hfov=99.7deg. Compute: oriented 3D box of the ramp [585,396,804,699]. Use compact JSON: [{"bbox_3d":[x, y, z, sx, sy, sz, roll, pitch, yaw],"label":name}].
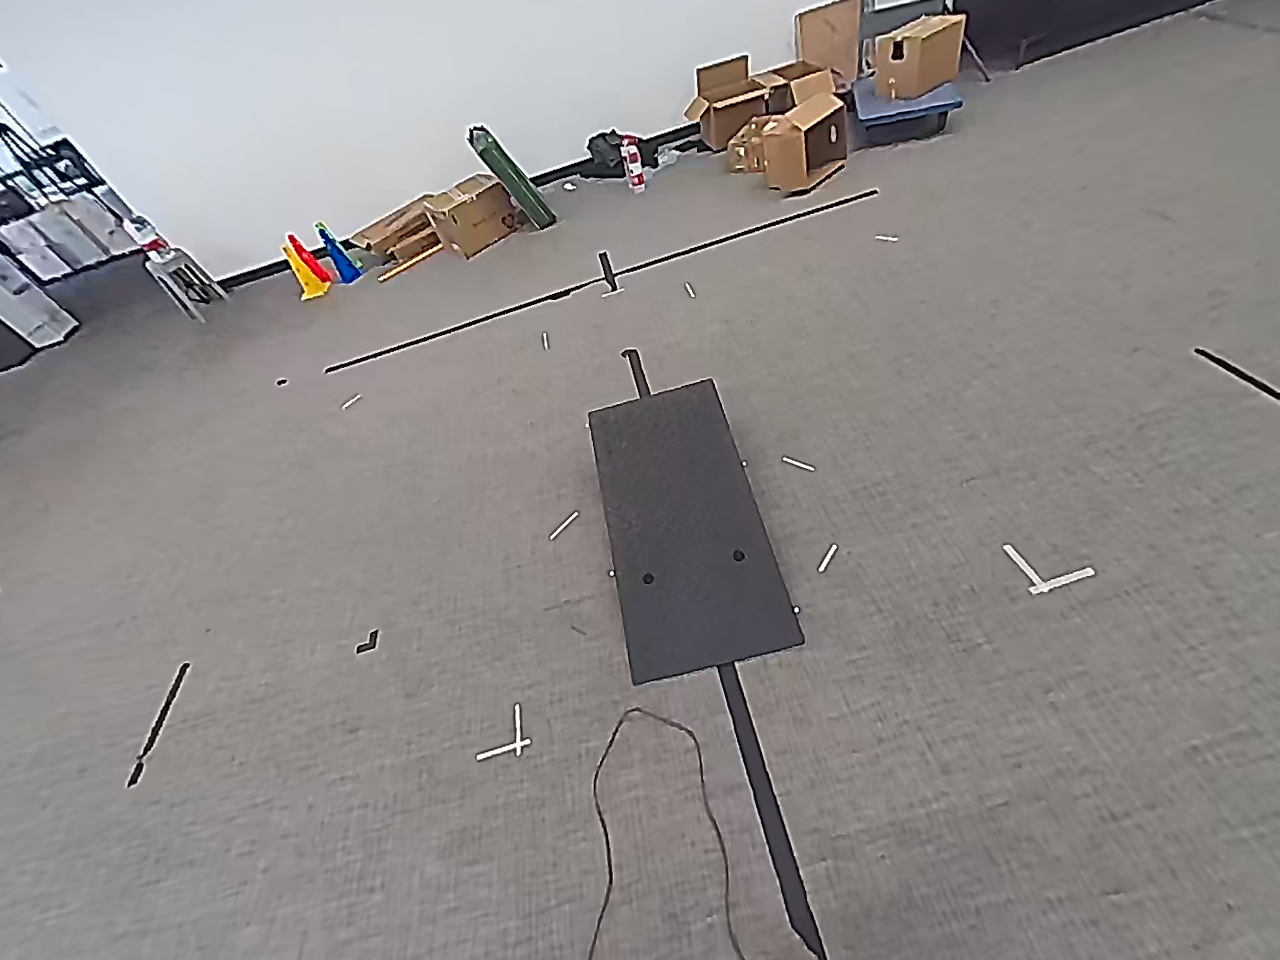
[{"bbox_3d":[0.126,0.150,1.778,0.509,0.206,0.991,-17,45,1],"label":"ramp"}]
